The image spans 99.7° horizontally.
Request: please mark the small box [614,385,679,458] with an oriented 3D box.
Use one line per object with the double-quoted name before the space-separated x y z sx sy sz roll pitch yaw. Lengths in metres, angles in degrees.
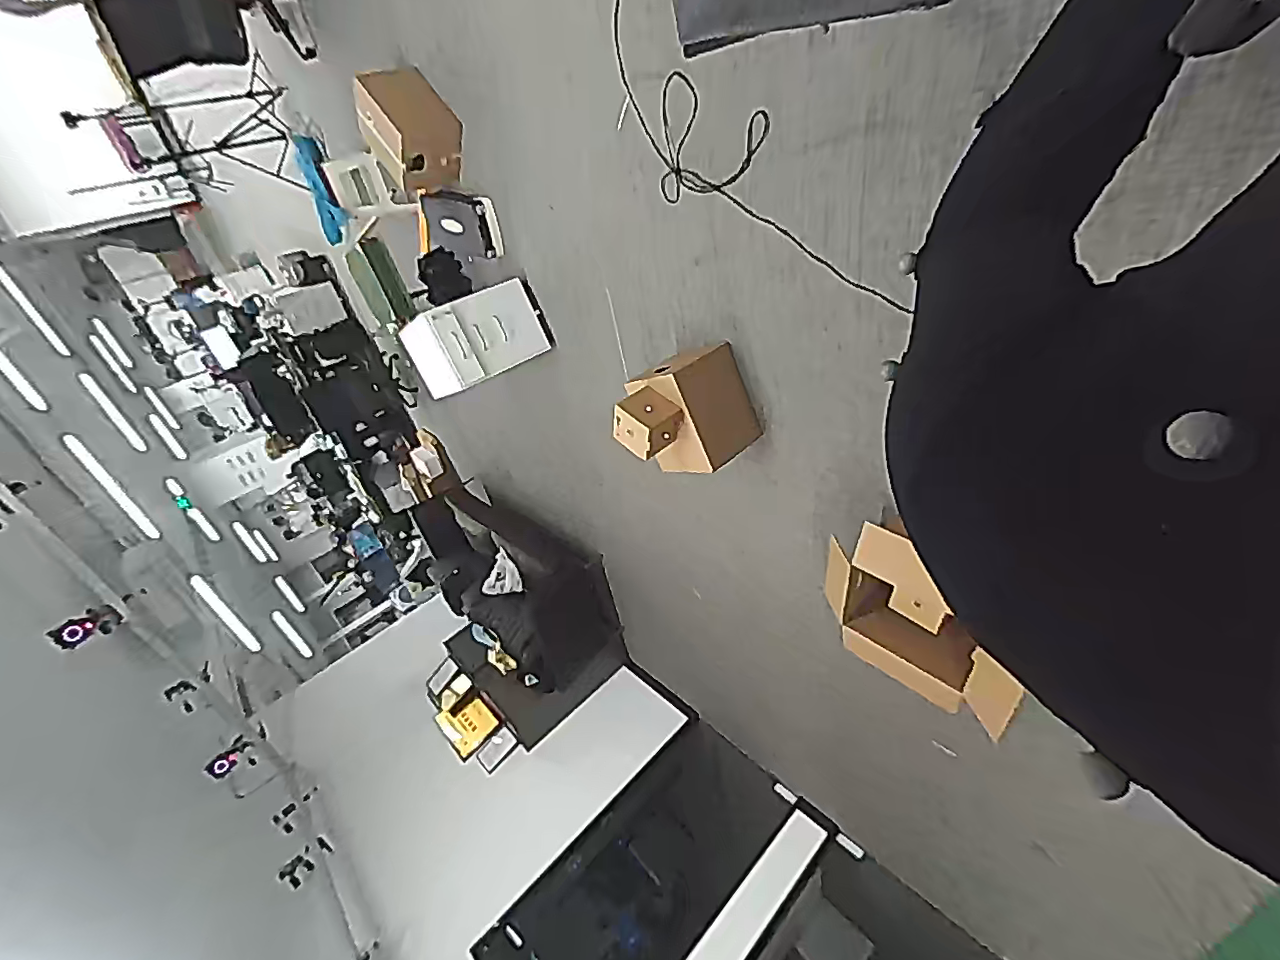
"small box" 0.024 -0.221 1.990 0.179 0.176 0.168 38 146 24
